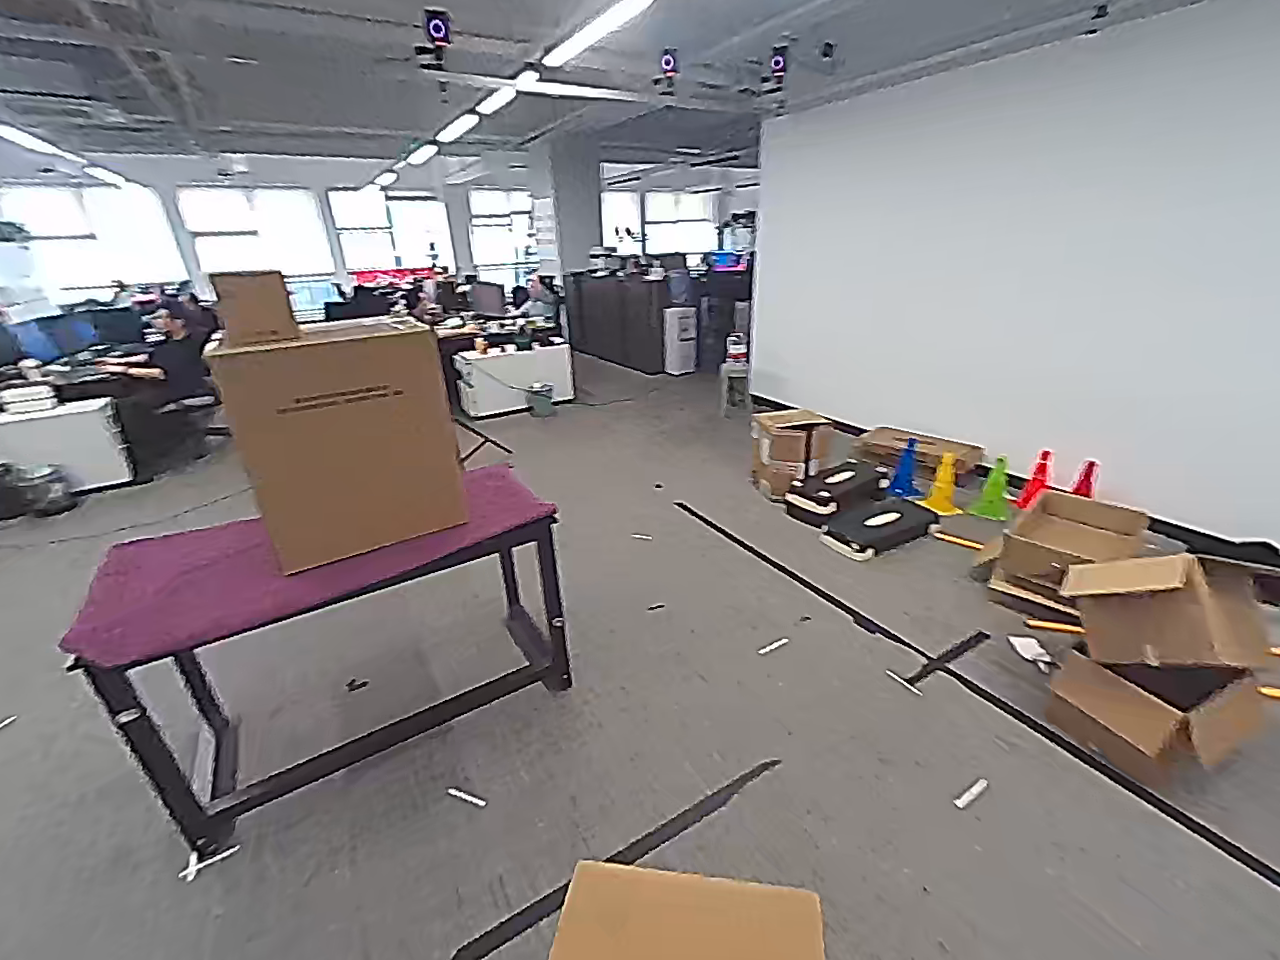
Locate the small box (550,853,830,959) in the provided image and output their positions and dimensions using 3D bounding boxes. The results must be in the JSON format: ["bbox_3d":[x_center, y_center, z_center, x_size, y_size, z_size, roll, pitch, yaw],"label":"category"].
[{"bbox_3d":[0.030,0.367,0.316,0.168,0.176,0.179,-3,22,12],"label":"small box"}]
